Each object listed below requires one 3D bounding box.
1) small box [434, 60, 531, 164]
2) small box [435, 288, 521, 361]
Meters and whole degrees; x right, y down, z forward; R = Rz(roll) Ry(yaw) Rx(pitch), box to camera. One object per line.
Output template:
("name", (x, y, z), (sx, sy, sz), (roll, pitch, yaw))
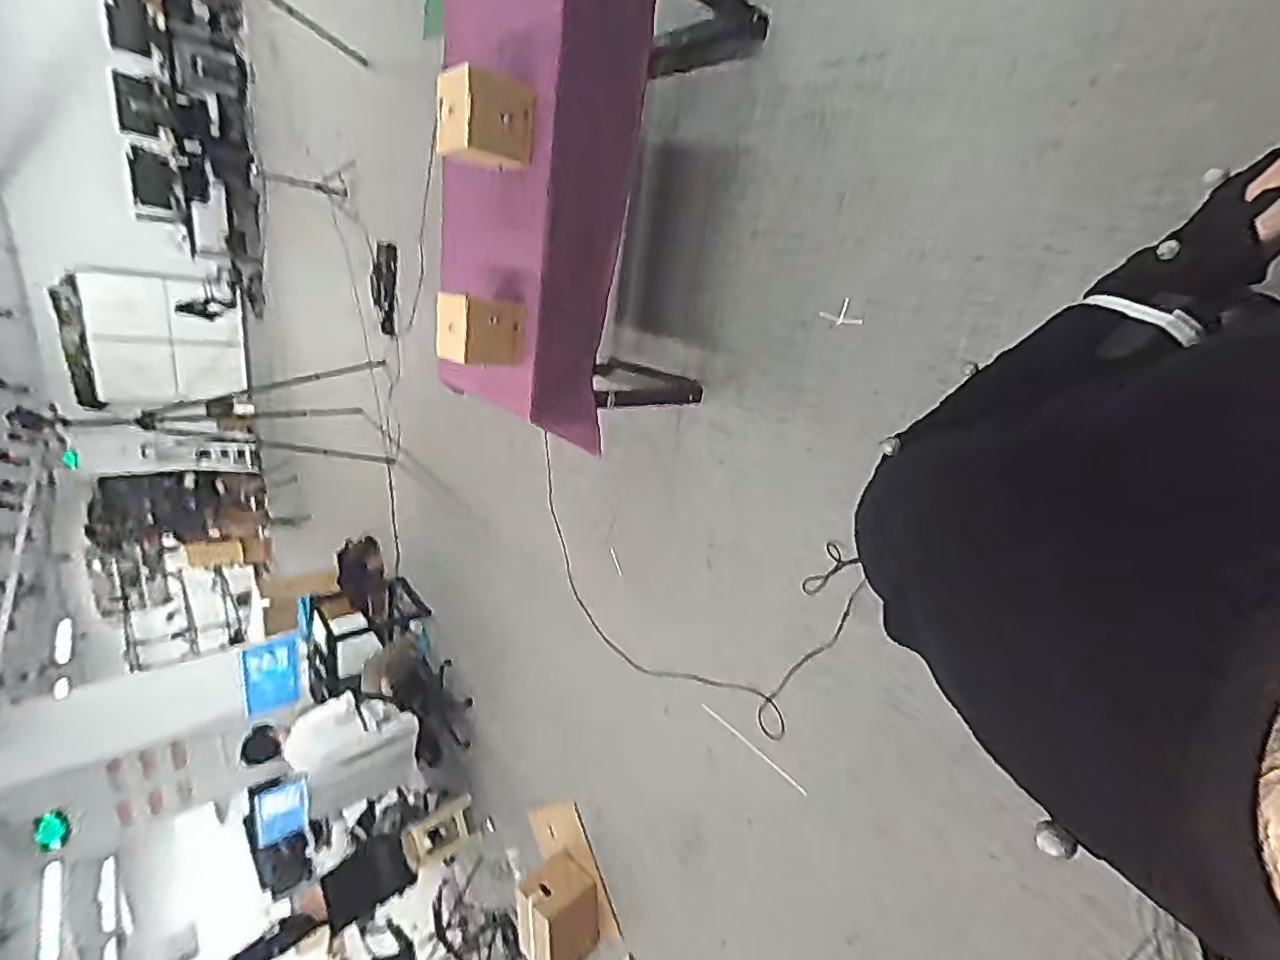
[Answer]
("small box", (-0.382, -0.881, 1.310), (0.179, 0.176, 0.168), (26, 116, 41))
("small box", (-0.436, -0.417, 1.458), (0.179, 0.176, 0.168), (25, 114, 43))
